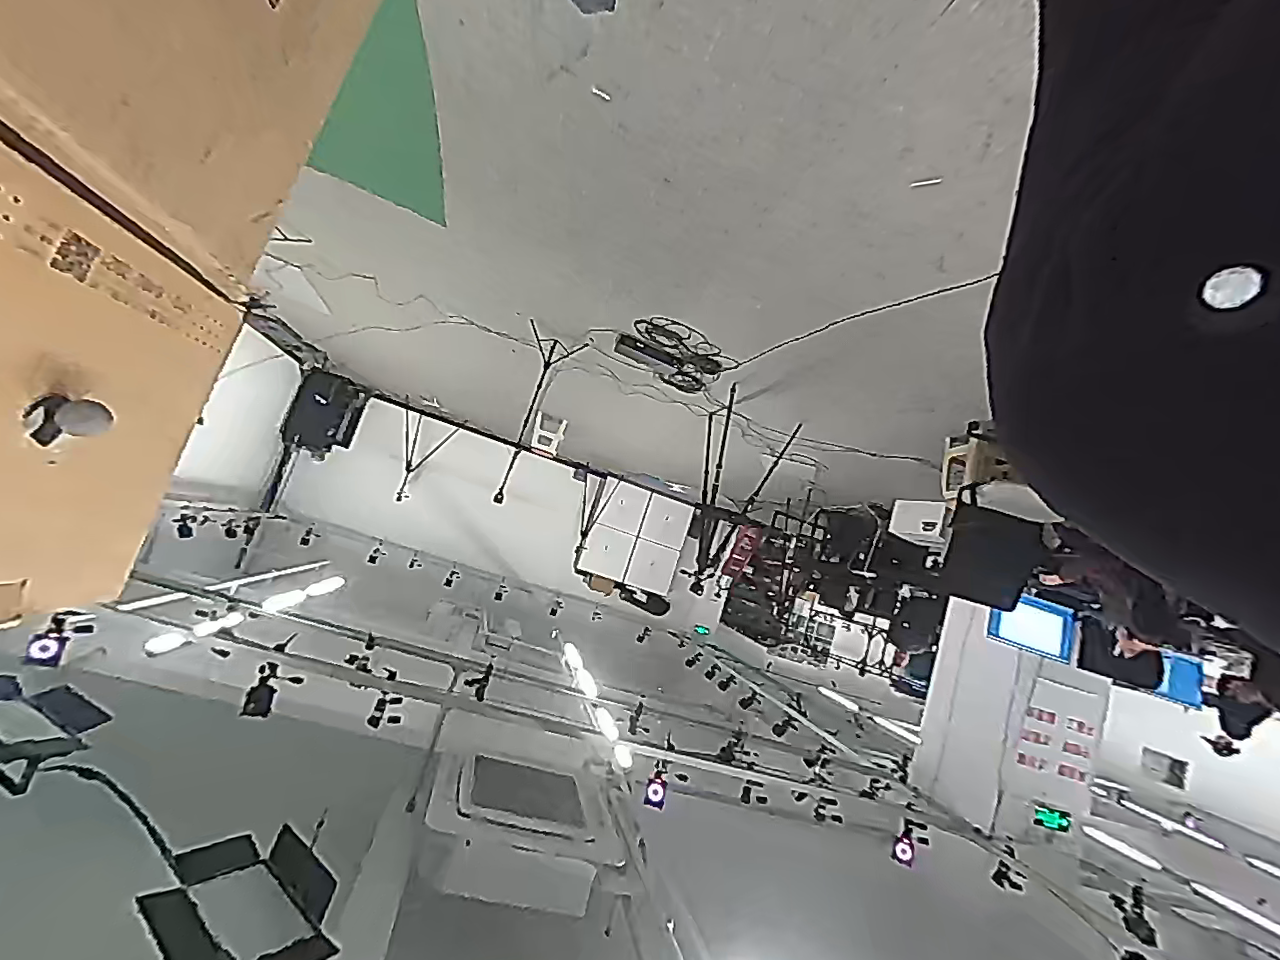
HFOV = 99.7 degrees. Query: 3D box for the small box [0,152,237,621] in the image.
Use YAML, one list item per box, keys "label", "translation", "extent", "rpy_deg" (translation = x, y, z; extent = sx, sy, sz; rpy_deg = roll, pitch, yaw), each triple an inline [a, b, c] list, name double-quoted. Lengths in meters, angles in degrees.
- label: "small box"
  translation: [-0.309, -0.048, 0.219]
  extent: [0.179, 0.176, 0.168]
  rpy_deg: [19, 173, -8]
